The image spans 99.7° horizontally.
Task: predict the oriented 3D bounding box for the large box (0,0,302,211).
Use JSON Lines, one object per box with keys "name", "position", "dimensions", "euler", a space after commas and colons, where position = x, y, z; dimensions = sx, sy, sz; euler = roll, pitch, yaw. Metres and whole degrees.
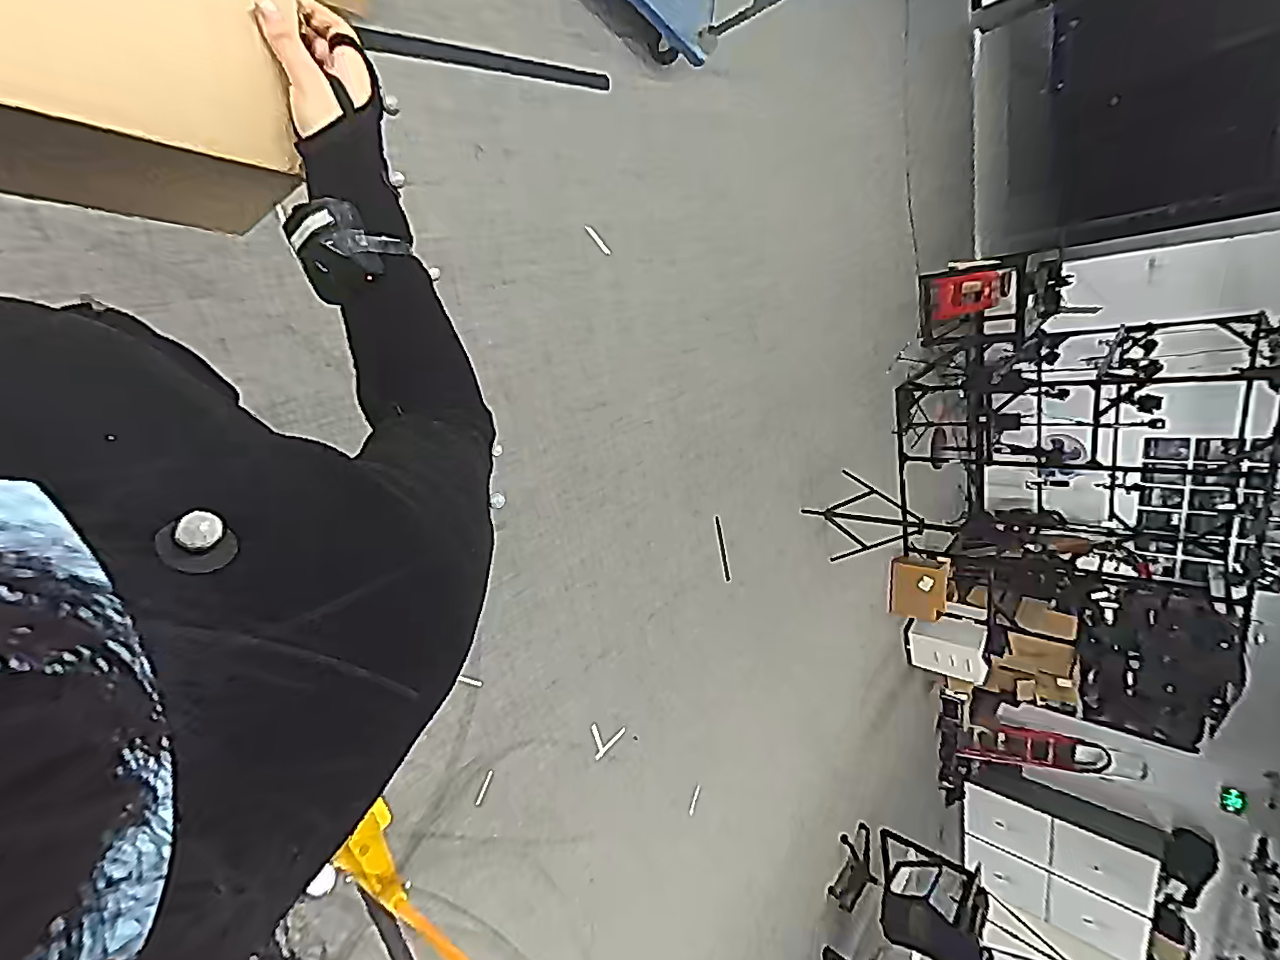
{"name": "large box", "position": [-0.508, -0.412, 0.376], "dimensions": [0.408, 0.320, 0.320], "euler": [-7, 105, -42]}
